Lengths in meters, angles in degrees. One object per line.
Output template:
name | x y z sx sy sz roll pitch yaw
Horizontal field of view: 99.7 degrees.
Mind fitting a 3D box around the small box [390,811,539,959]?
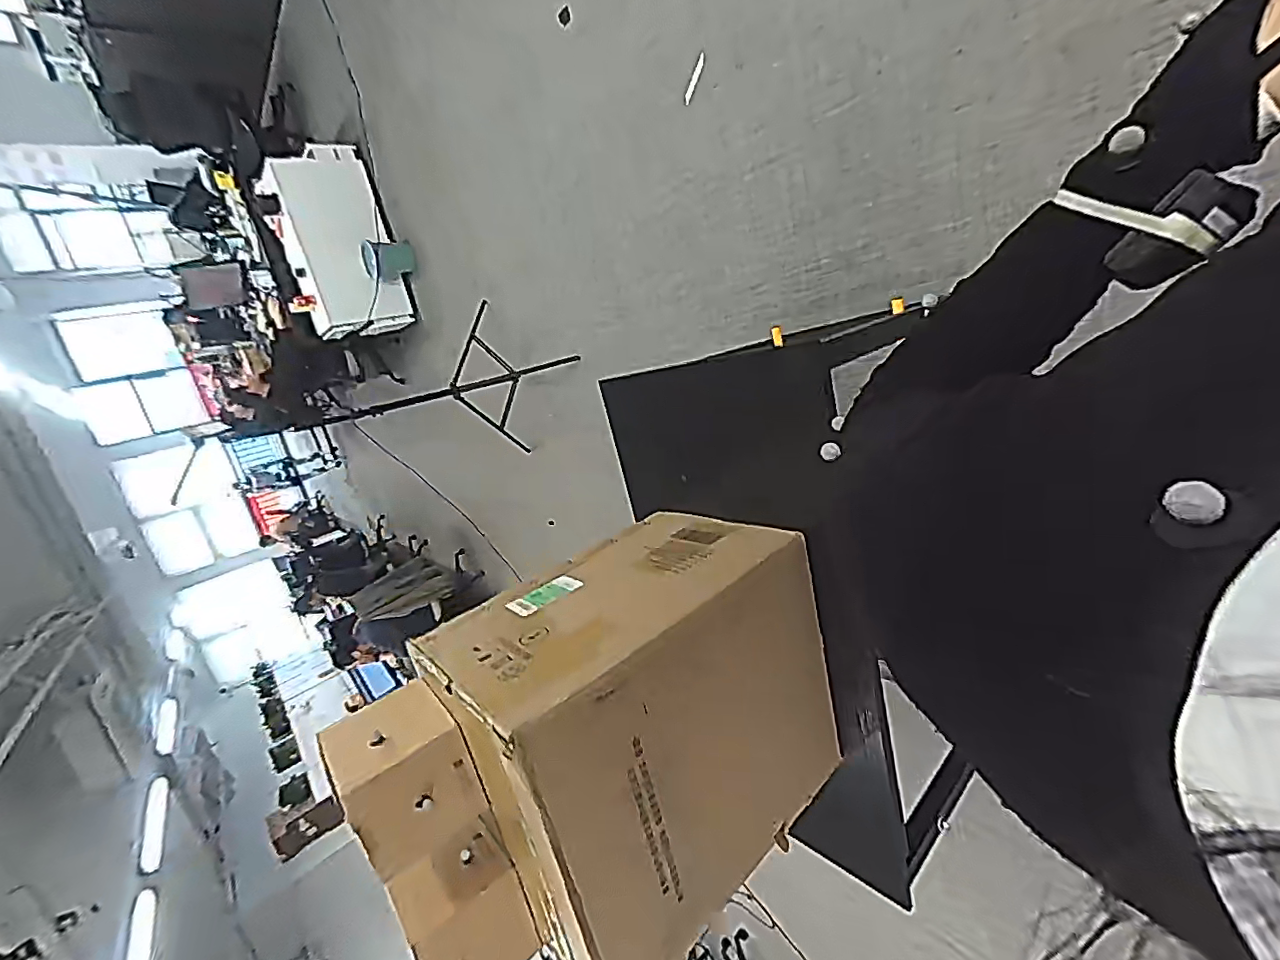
small box | -0.287 0.708 0.897 0.168 0.176 0.179 5 112 52

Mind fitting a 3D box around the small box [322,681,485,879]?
small box | -0.358 0.445 0.836 0.179 0.176 0.168 10 118 51
